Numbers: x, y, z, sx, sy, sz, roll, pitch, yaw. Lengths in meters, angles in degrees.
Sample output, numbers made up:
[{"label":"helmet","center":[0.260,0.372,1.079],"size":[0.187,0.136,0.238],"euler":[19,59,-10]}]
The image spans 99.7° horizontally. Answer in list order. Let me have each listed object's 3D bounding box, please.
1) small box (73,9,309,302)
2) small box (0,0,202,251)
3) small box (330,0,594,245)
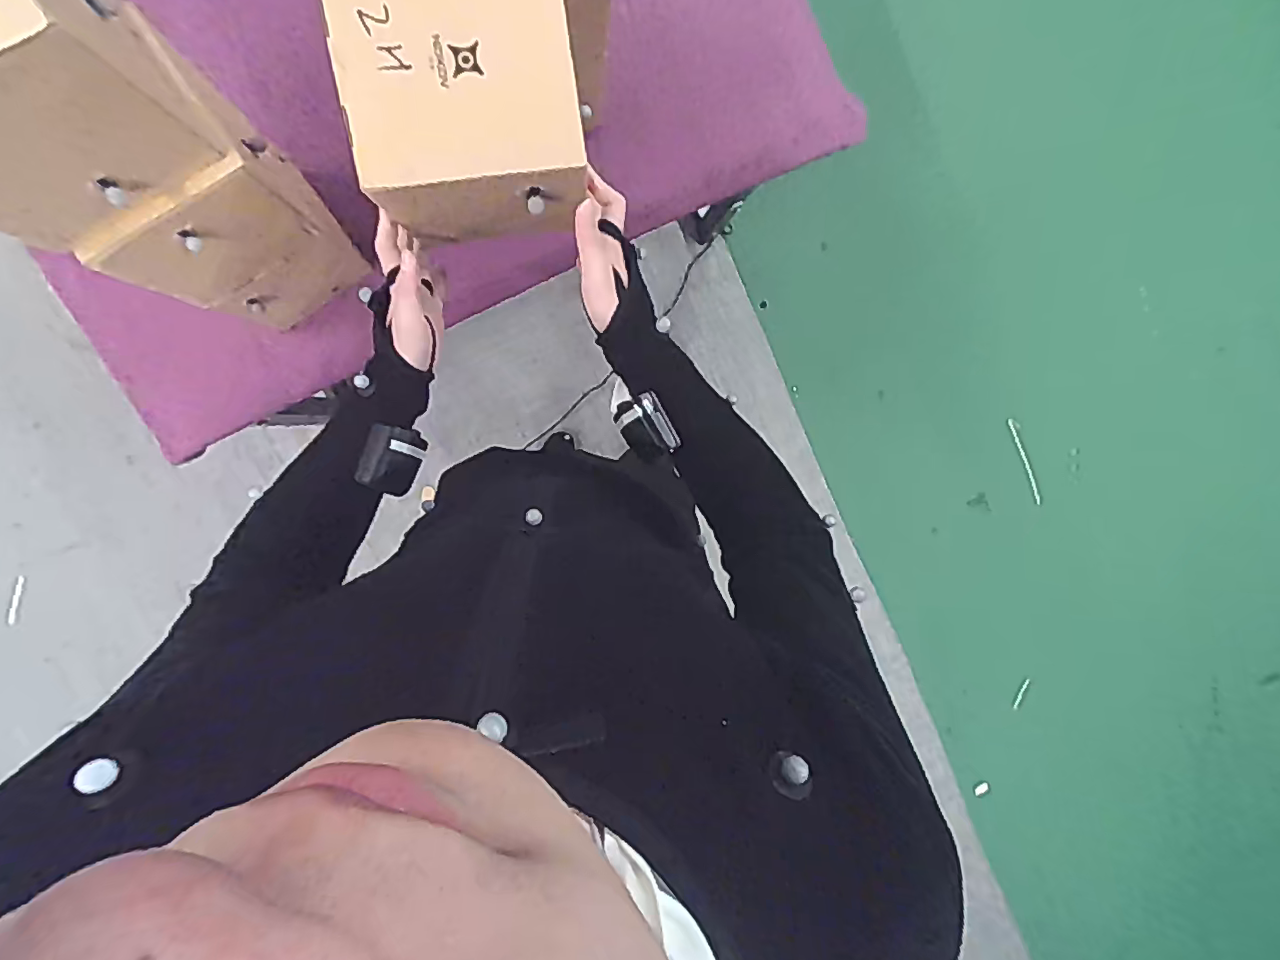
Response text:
[{"label":"small box","center":[-0.490,-0.316,0.568],"size":[0.179,0.176,0.168],"euler":[-34,98,-2]},{"label":"small box","center":[-0.485,-0.307,0.404],"size":[0.179,0.176,0.168],"euler":[-34,98,-3]},{"label":"small box","center":[-0.139,-0.321,0.481],"size":[0.179,0.176,0.168],"euler":[-8,100,-4]}]
